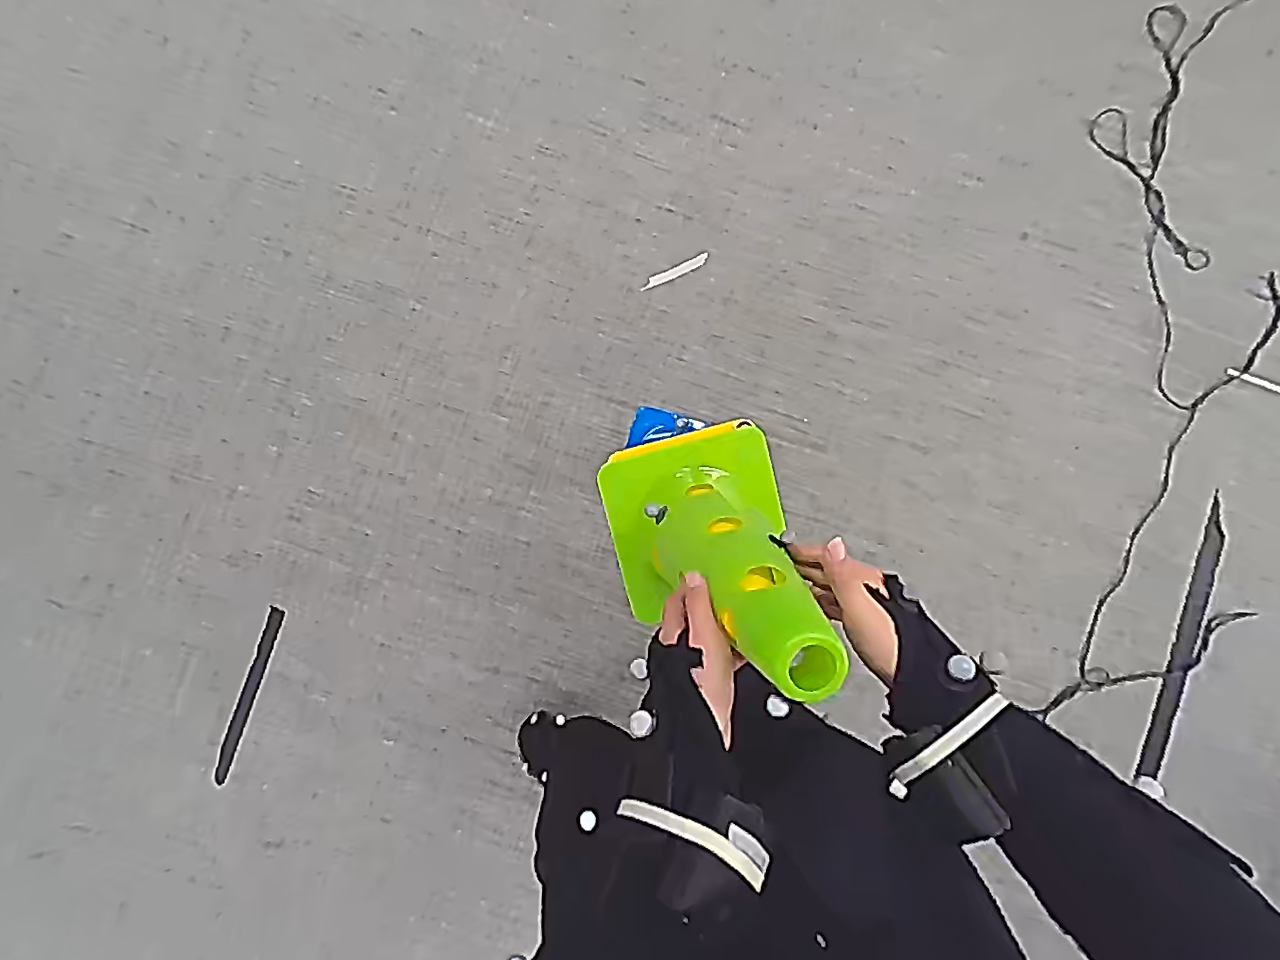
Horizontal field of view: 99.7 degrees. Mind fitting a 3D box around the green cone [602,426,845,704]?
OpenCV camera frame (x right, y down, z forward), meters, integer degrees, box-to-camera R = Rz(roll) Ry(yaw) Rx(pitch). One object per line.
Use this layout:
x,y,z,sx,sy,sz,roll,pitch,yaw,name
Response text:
0.082,0.070,0.451,0.202,0.368,0.200,-16,97,-1,green cone
